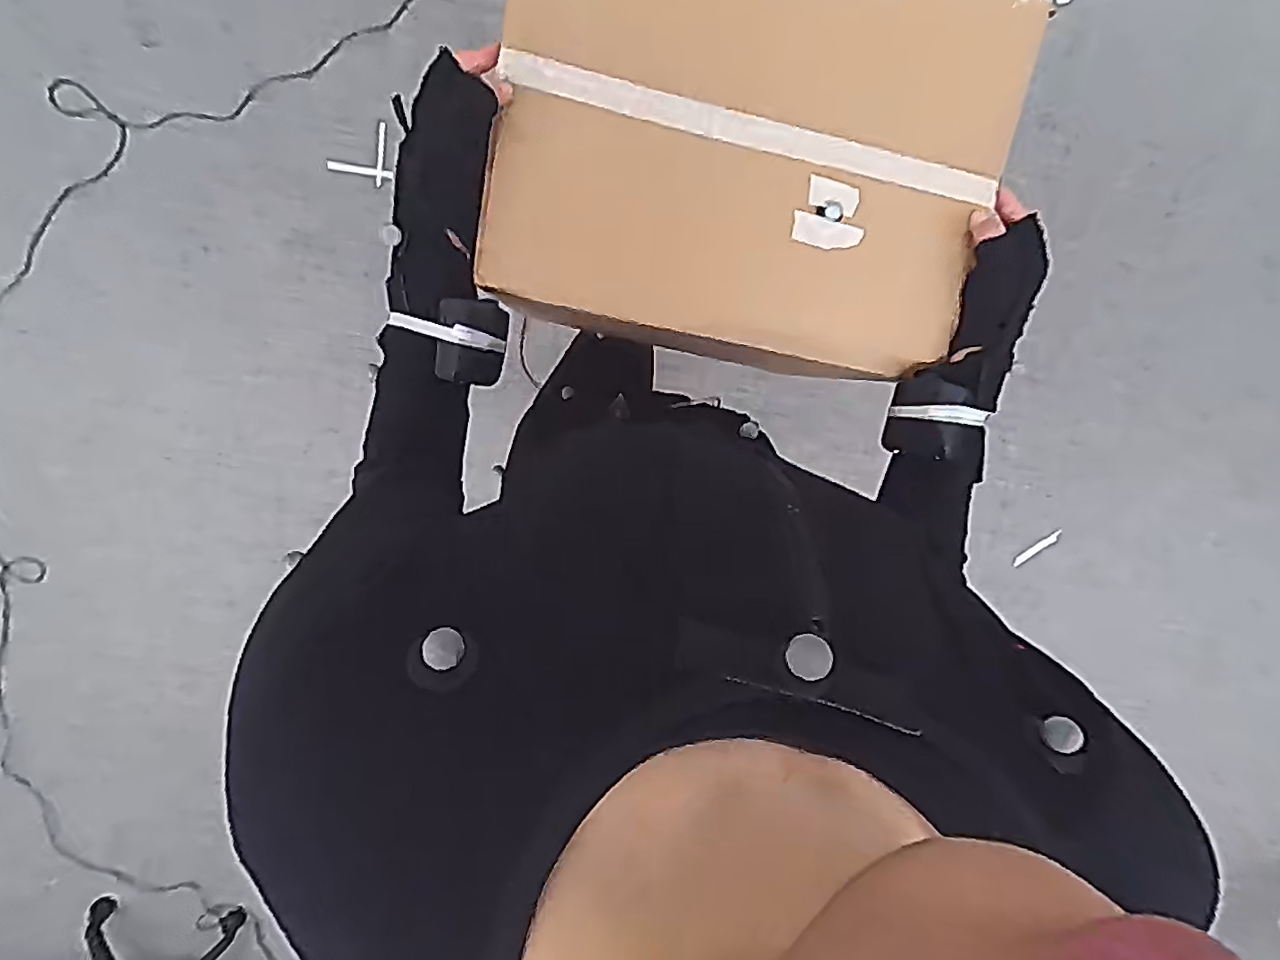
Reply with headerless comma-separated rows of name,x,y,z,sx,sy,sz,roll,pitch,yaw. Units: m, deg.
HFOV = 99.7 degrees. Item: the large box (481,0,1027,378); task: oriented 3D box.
large box,0.073,-0.301,0.577,0.408,0.320,0.320,10,102,-9
